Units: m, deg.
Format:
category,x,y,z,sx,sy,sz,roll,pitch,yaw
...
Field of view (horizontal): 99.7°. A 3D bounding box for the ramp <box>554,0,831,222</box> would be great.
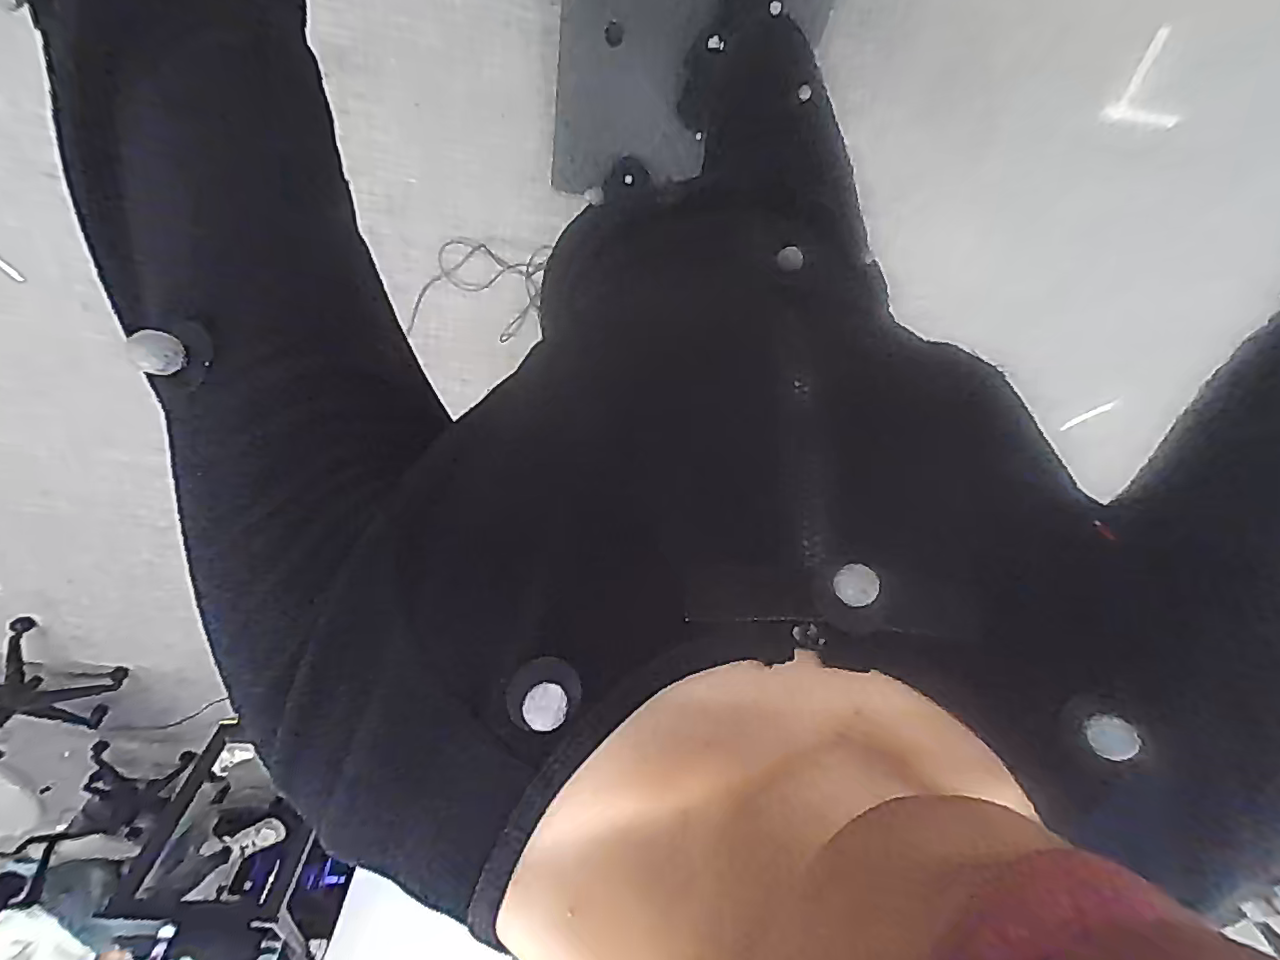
category,x,y,z,sx,sy,sz,roll,pitch,yaw
ramp,0.127,-0.974,0.899,0.509,0.206,0.991,5,126,-7
